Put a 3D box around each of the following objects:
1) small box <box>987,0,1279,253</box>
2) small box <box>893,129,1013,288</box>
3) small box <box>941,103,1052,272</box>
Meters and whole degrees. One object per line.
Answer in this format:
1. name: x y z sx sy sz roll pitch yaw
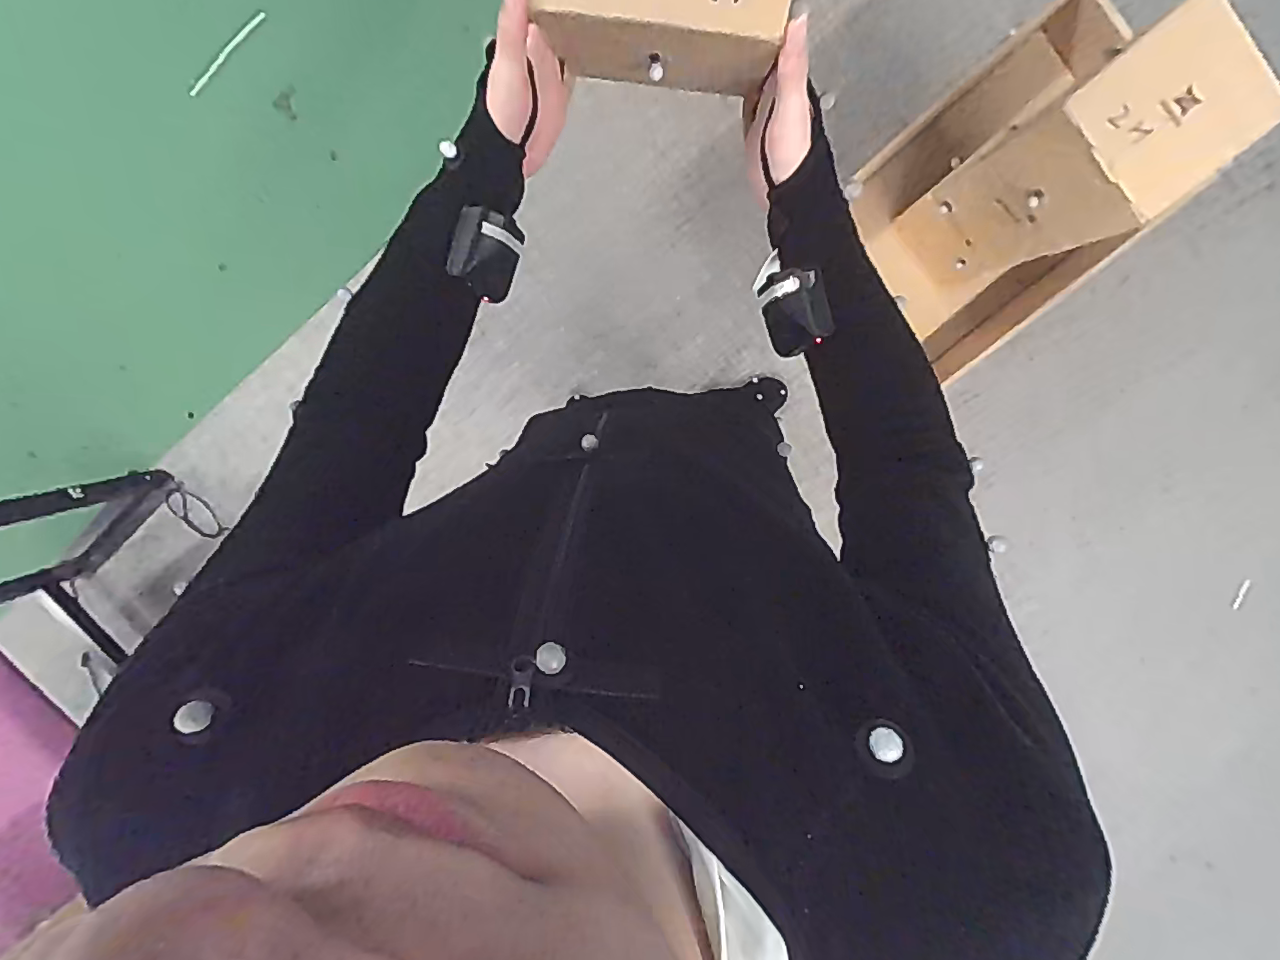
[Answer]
1. small box: 0.580 -0.412 0.659 0.179 0.176 0.168 -39 96 10
2. small box: 0.600 -0.475 0.982 0.168 0.176 0.179 -39 96 10
3. small box: 0.594 -0.445 0.820 0.179 0.176 0.168 -37 97 9
